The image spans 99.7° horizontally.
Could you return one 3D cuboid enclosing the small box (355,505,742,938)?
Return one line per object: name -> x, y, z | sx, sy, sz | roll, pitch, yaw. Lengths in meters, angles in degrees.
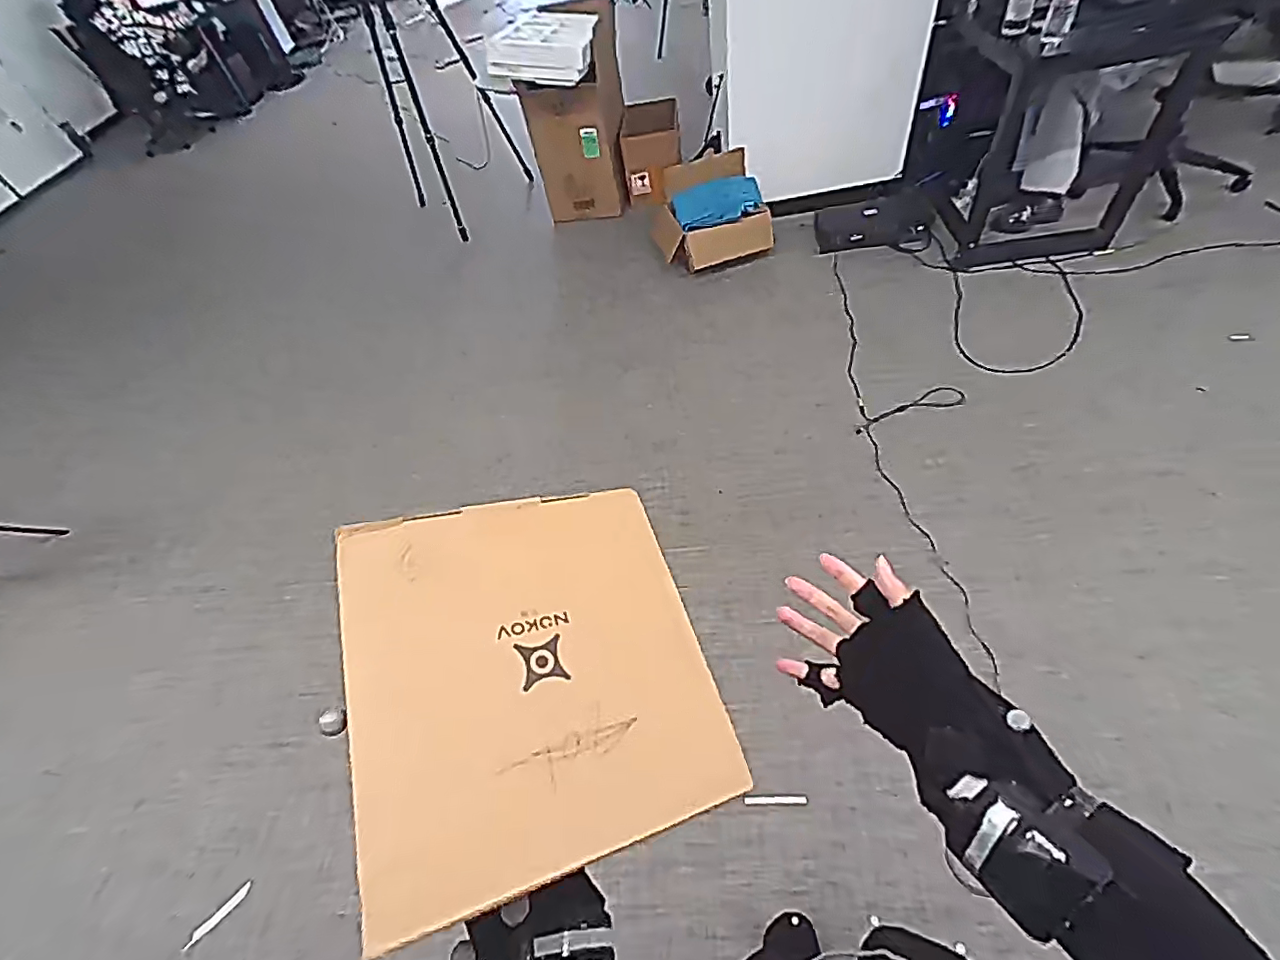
small box -> -0.073, 0.140, 0.333 | 0.168, 0.176, 0.179 | -7, 57, -25
